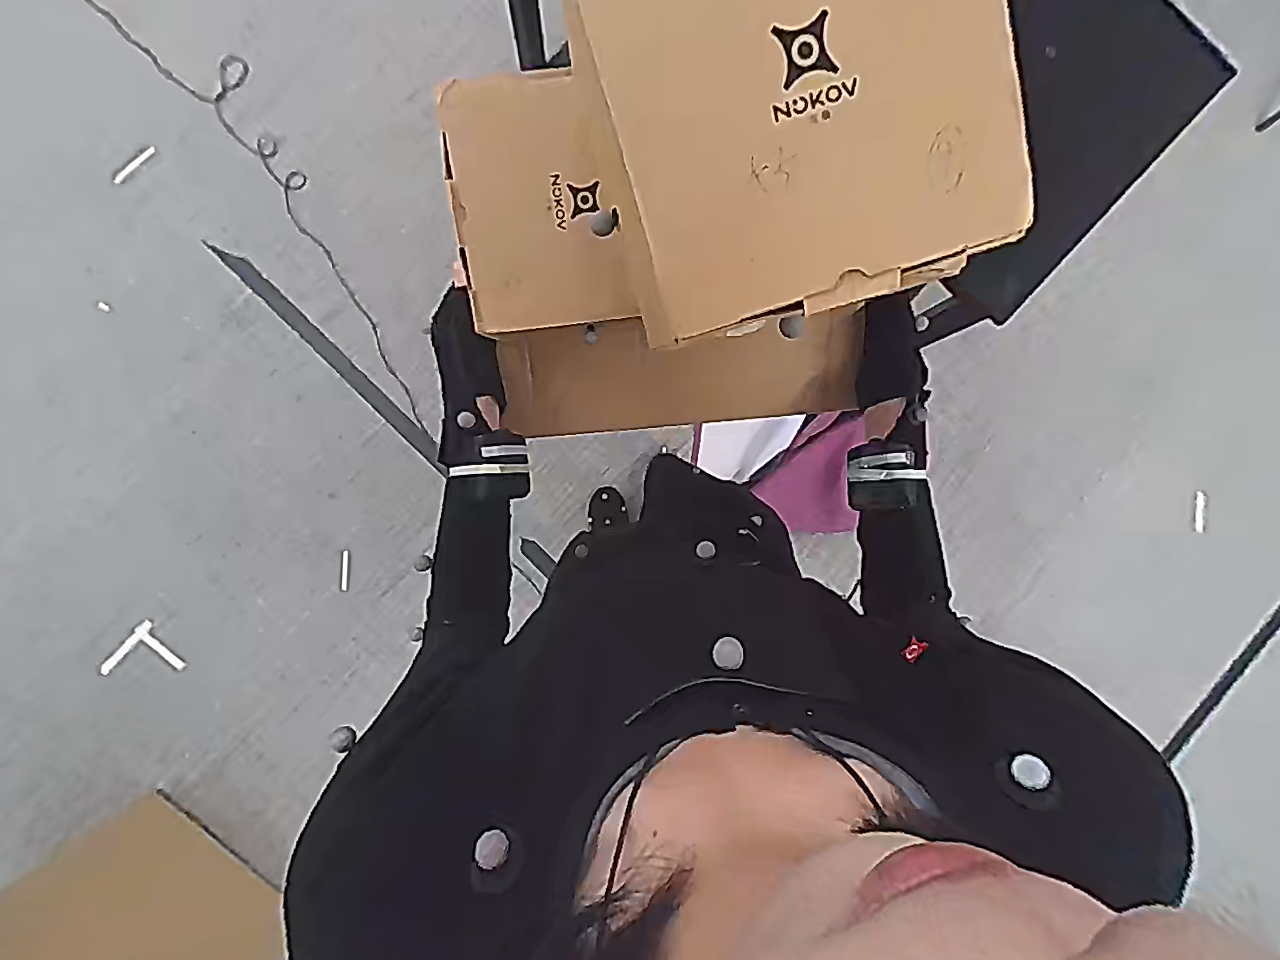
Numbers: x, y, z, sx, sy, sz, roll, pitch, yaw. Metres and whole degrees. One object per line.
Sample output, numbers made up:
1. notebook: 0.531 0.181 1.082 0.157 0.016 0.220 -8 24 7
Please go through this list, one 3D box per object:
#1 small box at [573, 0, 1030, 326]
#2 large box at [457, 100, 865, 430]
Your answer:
1. small box: 0.067 -0.192 0.298 0.168 0.176 0.179 -17 103 1
2. large box: 0.024 -0.252 0.699 0.408 0.320 0.320 -6 102 -2
